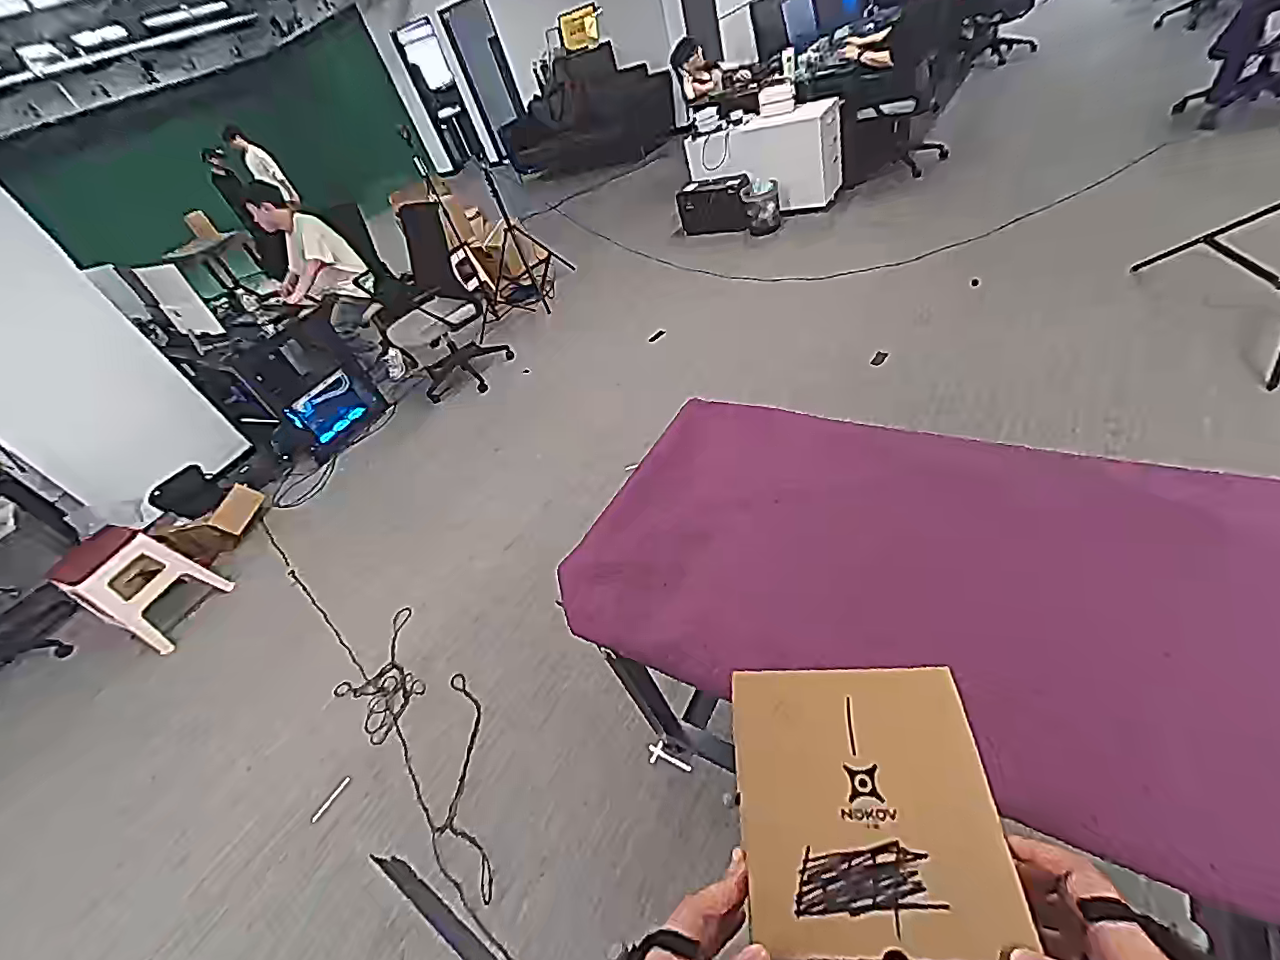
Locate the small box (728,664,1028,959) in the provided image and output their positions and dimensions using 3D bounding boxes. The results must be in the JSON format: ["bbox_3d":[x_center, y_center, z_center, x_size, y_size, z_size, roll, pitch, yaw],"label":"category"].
[{"bbox_3d":[0.159,0.263,0.433,0.168,0.176,0.179,-3,50,7],"label":"small box"}]
